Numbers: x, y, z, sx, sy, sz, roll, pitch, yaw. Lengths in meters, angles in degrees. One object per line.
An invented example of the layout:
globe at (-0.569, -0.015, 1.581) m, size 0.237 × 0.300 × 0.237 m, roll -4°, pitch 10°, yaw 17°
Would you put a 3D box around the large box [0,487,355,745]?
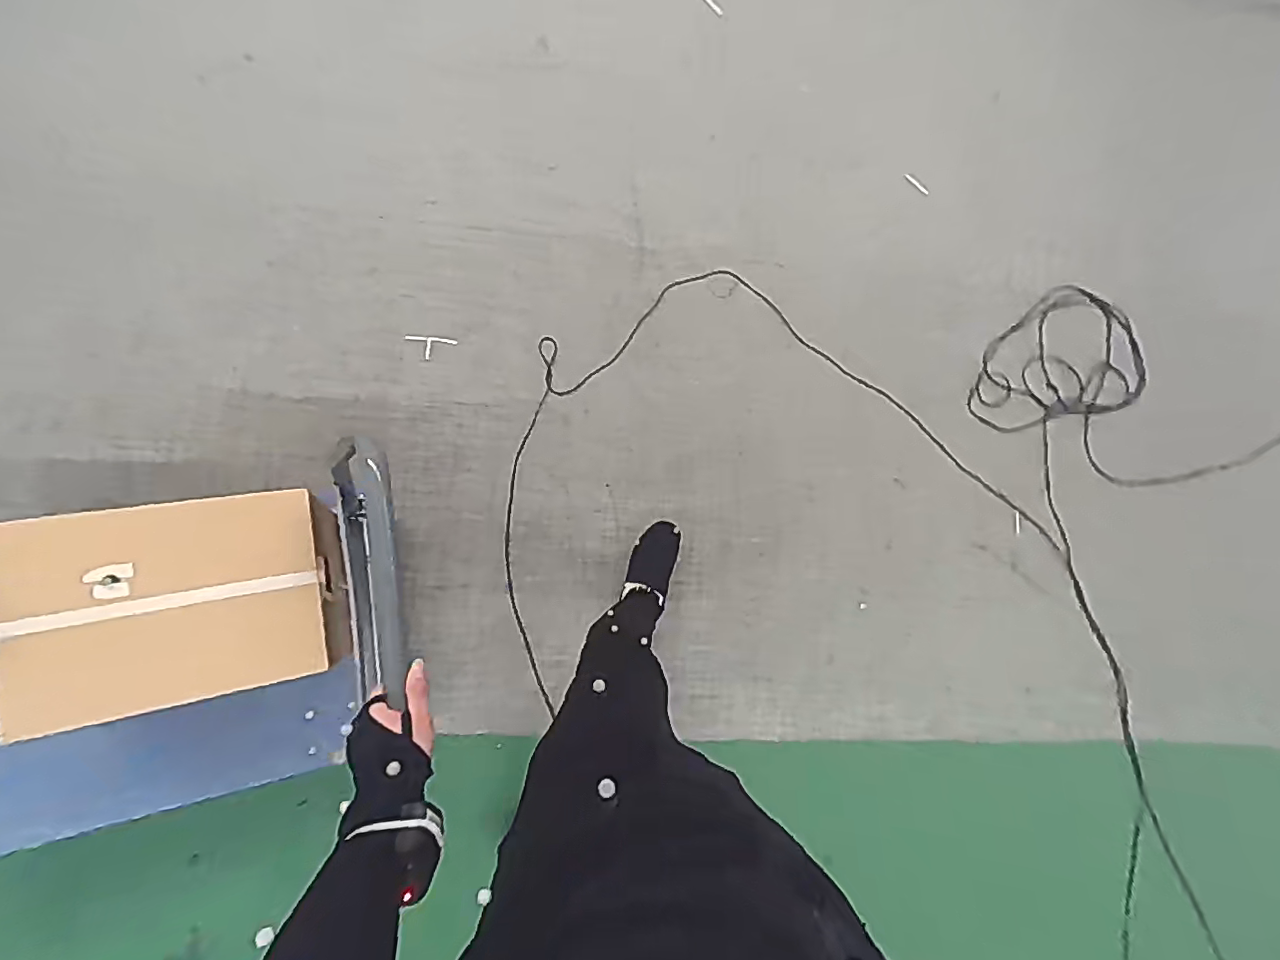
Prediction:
large box at (-0.771, 0.212, 0.970) m, size 0.408 × 0.320 × 0.320 m, roll -8°, pitch 83°, yaw -23°
